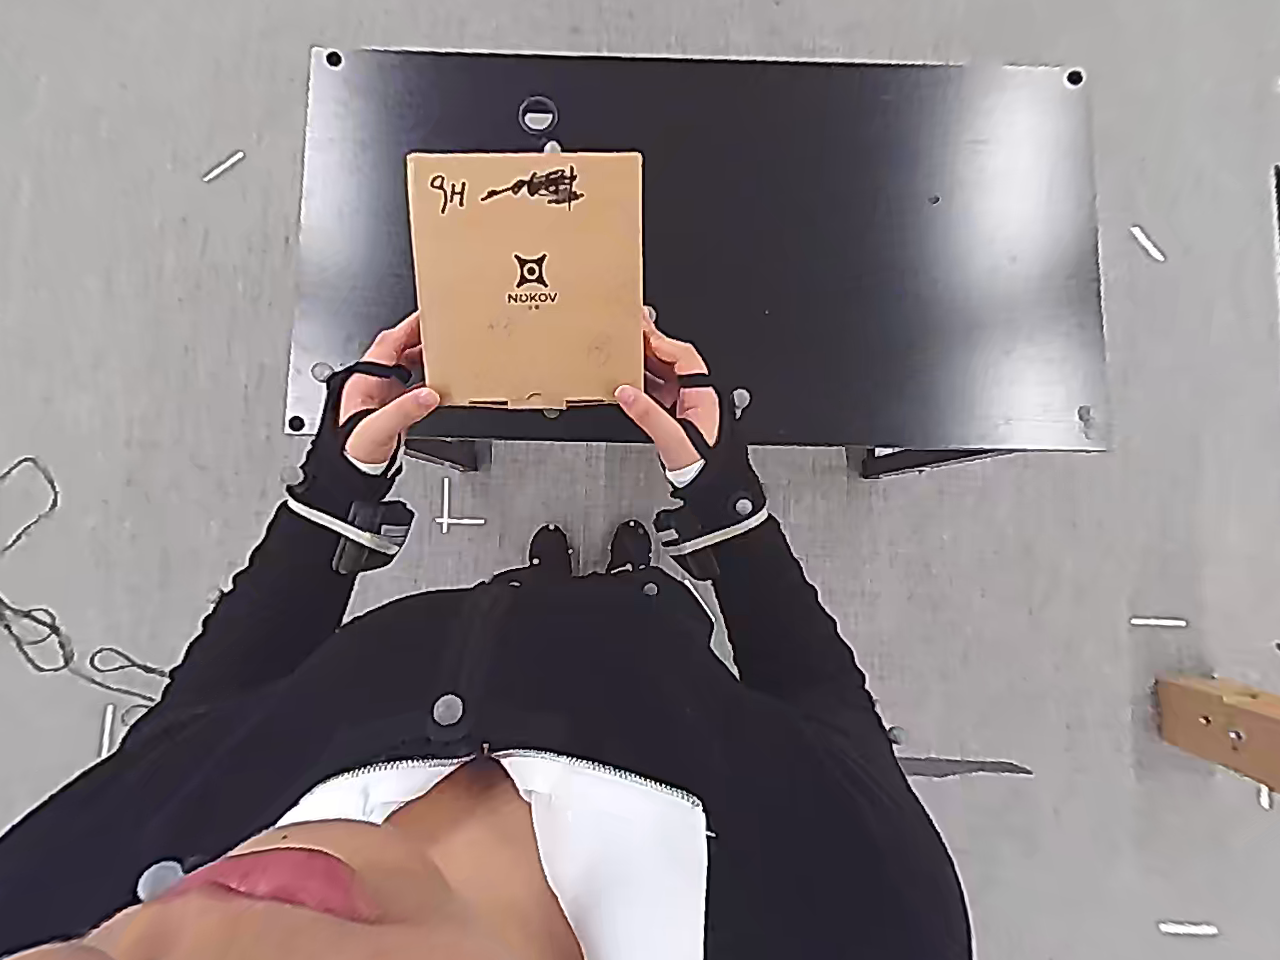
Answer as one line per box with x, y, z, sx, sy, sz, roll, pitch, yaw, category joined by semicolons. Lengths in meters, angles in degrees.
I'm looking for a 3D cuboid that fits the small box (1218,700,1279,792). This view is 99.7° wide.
1.491;0.608;1.227;0.179;0.176;0.168;-2;84;1;small box

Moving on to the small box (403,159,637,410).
-0.086;-0.158;0.475;0.168;0.176;0.179;-1;102;-1;small box

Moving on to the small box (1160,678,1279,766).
1.494;0.617;1.389;0.168;0.176;0.179;0;86;0;small box
